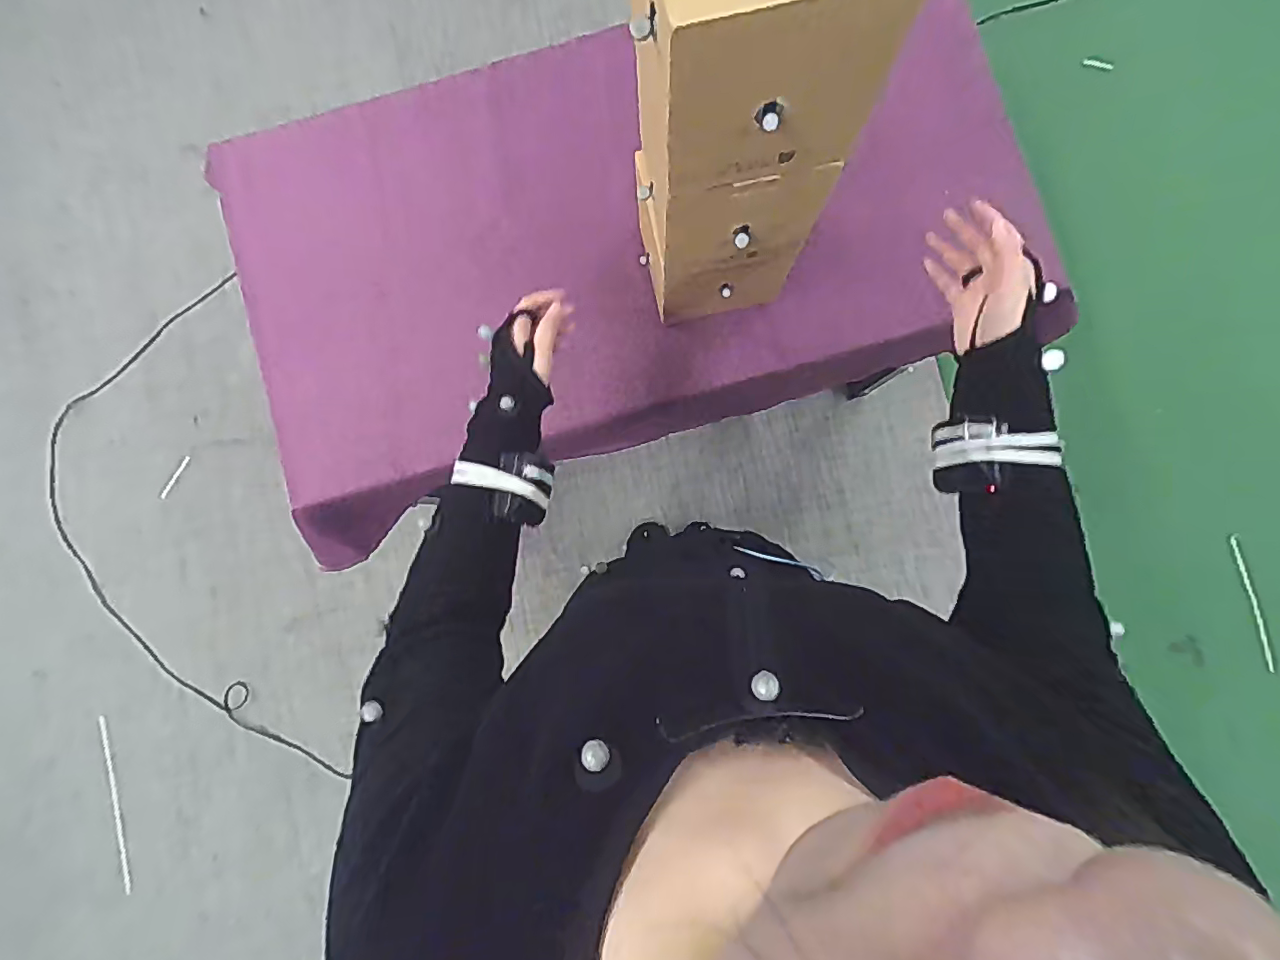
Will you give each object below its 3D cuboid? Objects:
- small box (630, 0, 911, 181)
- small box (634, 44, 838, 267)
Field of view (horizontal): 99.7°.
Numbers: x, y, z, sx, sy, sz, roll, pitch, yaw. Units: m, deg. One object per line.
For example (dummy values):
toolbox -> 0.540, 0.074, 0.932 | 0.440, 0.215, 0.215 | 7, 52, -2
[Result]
small box -> 0.083, -0.360, 0.413 | 0.168, 0.176, 0.179 | -11, 85, 1
small box -> 0.091, -0.348, 0.578 | 0.168, 0.176, 0.179 | -10, 86, 1
